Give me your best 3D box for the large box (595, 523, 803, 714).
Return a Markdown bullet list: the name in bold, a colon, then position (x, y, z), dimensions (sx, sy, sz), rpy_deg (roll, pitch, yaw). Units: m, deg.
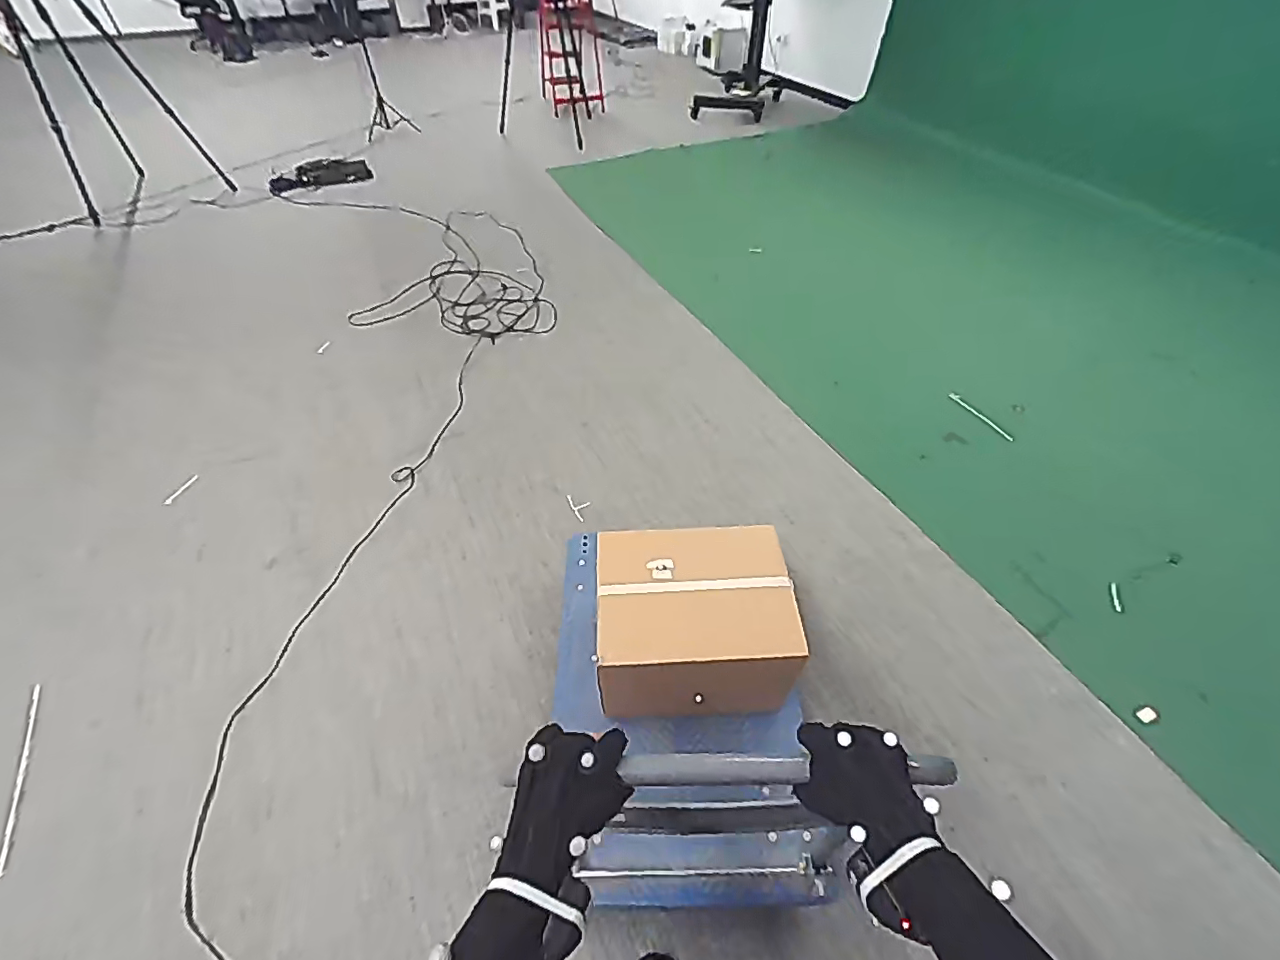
- **large box**: position (0.110, 0.321, 1.237), dimensions (0.408, 0.320, 0.320), rpy_deg (-3, 48, -2)
